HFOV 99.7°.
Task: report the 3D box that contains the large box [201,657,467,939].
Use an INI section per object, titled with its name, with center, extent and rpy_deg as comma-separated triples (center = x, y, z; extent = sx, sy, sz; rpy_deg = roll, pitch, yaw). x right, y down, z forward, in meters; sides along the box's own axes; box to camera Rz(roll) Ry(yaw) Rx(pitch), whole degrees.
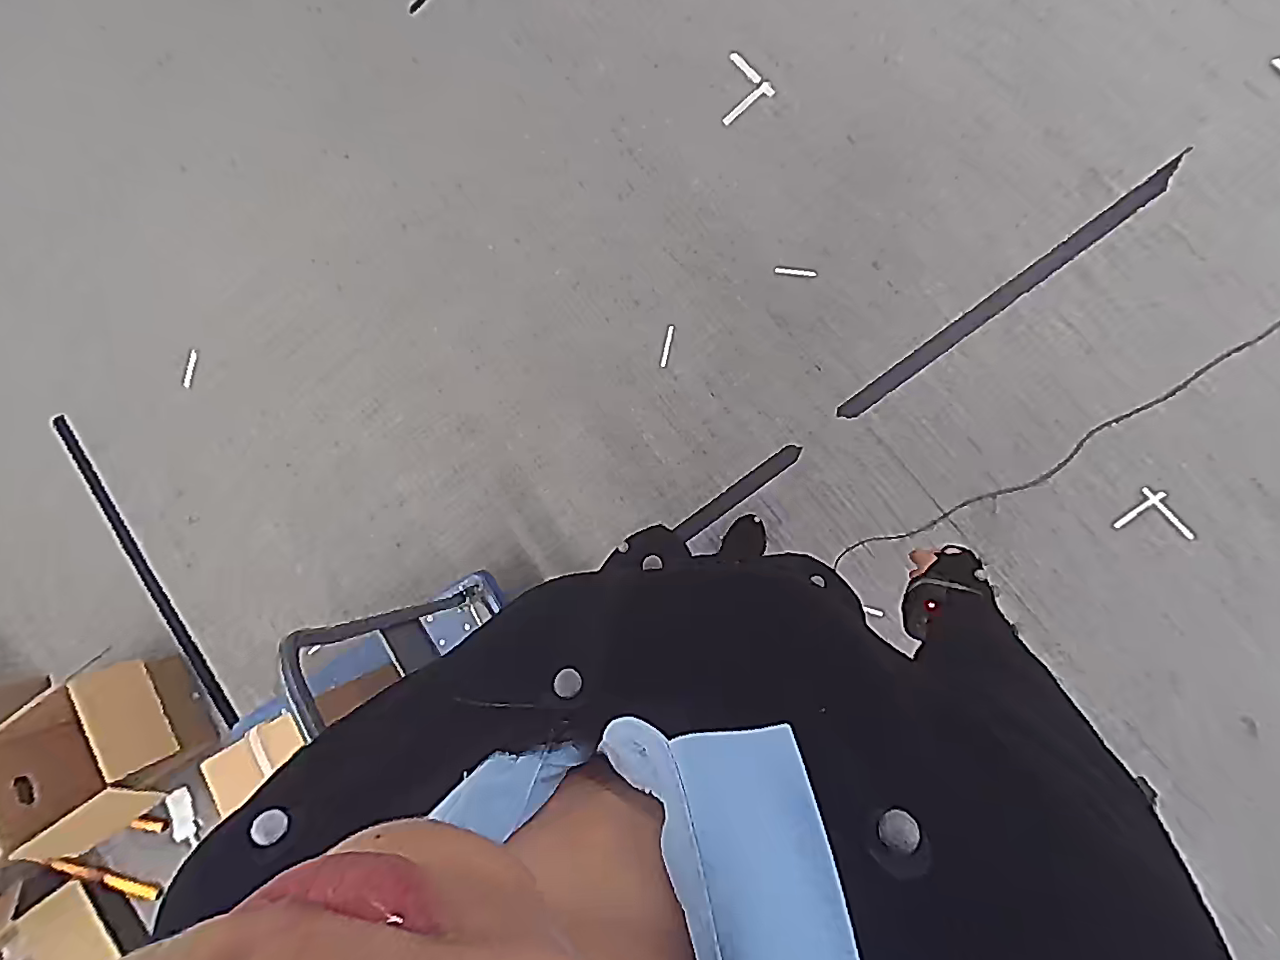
[large box]
center = -0.676, 0.691, 1.245
extent = 0.320, 0.320, 0.408
rpy_deg = -31, 83, 7
